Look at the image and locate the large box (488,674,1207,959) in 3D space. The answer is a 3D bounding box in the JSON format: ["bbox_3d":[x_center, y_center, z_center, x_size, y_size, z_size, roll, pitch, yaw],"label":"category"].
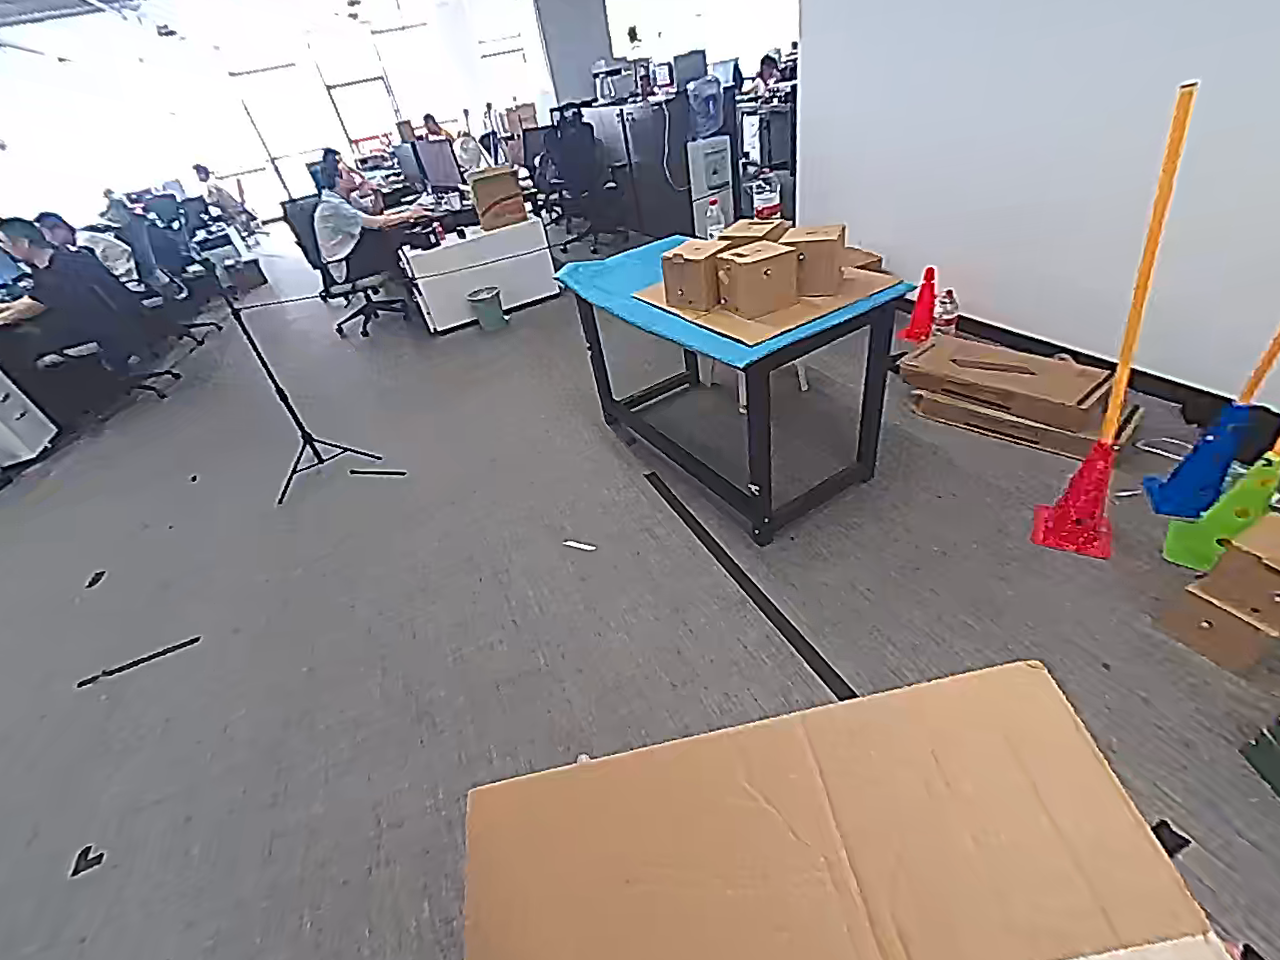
[{"bbox_3d":[0.134,0.390,0.410,0.408,0.320,0.320,-14,53,3],"label":"large box"}]
